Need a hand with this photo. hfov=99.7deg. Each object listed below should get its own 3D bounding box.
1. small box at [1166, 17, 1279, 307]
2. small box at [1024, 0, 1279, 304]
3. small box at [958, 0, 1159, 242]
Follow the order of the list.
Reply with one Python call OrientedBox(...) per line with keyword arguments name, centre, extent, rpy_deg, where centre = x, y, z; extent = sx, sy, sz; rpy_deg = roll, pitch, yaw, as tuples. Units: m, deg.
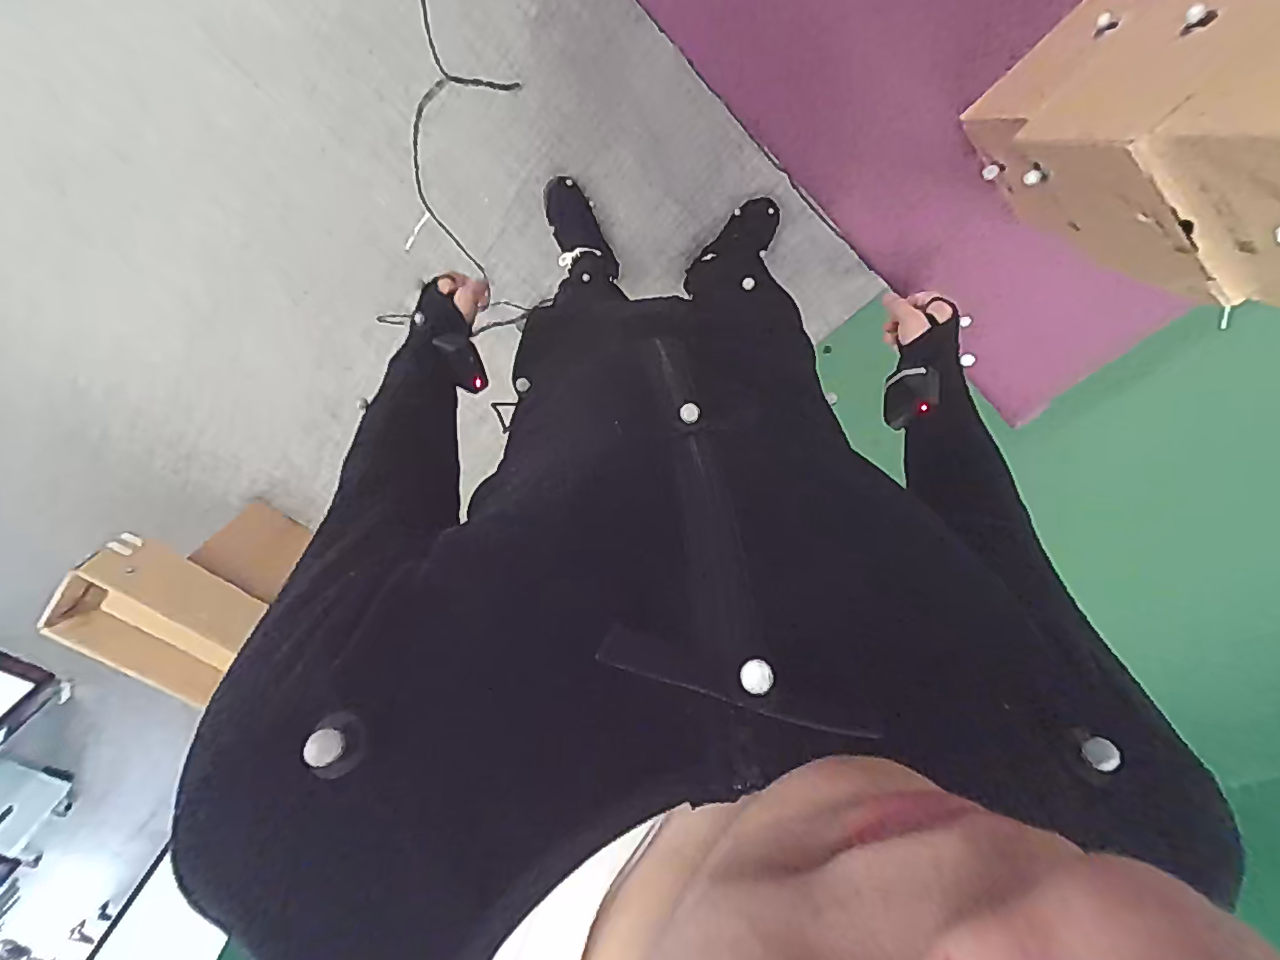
OrientedBox(name="small box", centre=(0.443, -0.192, 0.283), extent=(0.168, 0.176, 0.179), rpy_deg=(37, 118, -17))
OrientedBox(name="small box", centre=(0.447, -0.275, 0.423), extent=(0.168, 0.176, 0.179), rpy_deg=(38, 117, -18))
OrientedBox(name="small box", centre=(0.474, -0.376, 0.551), extent=(0.168, 0.176, 0.179), rpy_deg=(40, 118, -19))
